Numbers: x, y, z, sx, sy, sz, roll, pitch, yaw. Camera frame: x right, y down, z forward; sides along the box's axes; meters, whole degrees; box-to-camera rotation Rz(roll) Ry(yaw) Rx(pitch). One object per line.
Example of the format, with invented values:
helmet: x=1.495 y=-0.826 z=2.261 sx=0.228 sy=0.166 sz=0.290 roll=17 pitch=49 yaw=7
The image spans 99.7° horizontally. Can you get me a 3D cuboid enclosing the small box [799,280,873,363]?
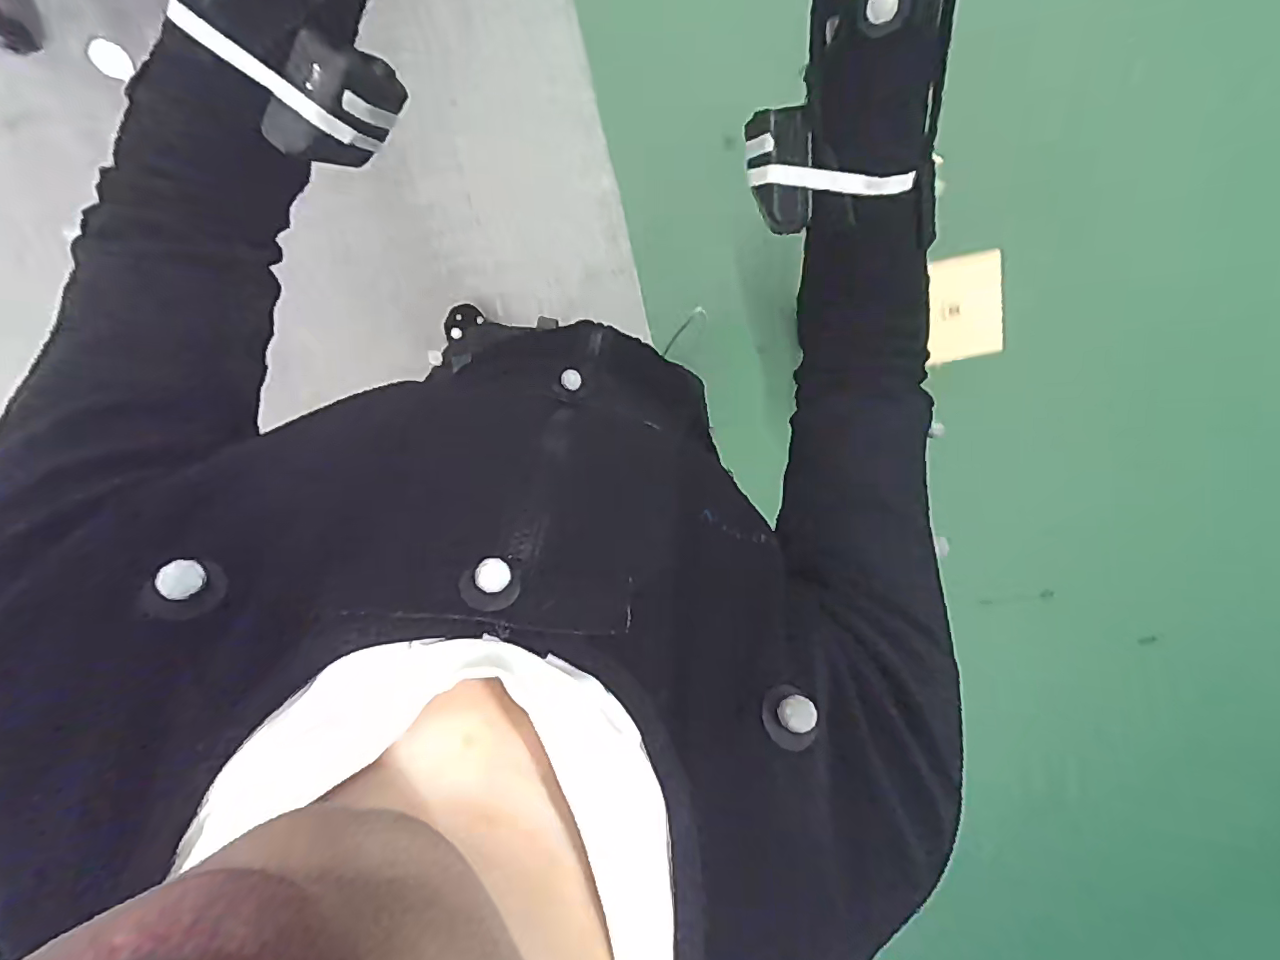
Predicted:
small box: x=0.501 y=-0.387 z=1.325 sx=0.179 sy=0.176 sz=0.168 roll=-12 pitch=105 yaw=2

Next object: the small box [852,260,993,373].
small box: x=0.520 y=-0.303 z=1.009 sx=0.179 sy=0.176 sz=0.168 roll=-12 pitch=106 yaw=0
